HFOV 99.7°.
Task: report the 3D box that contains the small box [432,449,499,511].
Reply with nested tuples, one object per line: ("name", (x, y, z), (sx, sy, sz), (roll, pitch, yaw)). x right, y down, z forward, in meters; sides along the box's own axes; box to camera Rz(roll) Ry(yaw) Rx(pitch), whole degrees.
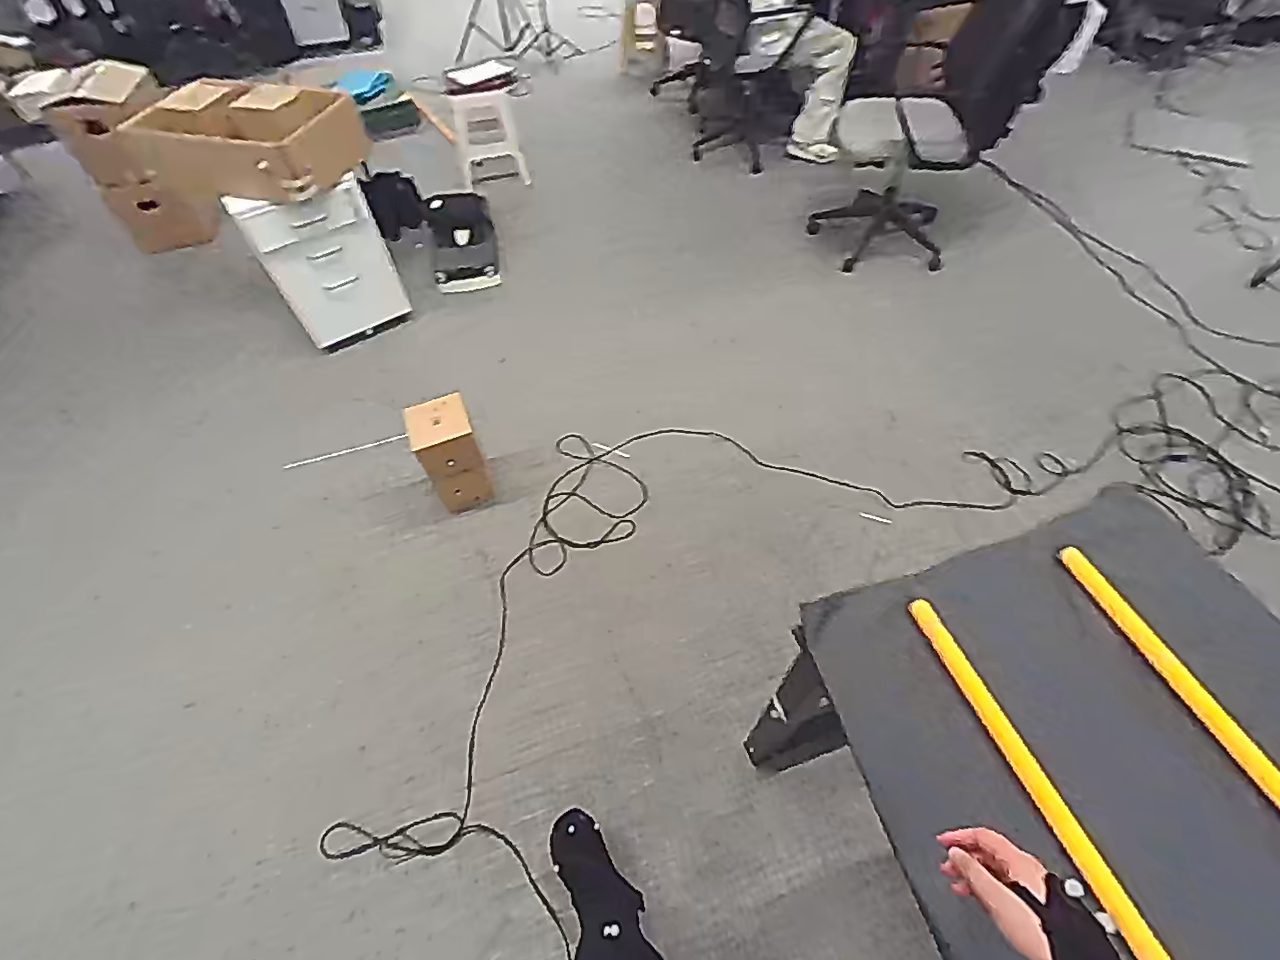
("small box", (-0.567, -0.019, 1.742), (0.168, 0.176, 0.179), (-19, 55, -11))

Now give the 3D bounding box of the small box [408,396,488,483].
("small box", (-0.567, -0.113, 1.606), (0.168, 0.176, 0.179), (-20, 55, -12))
